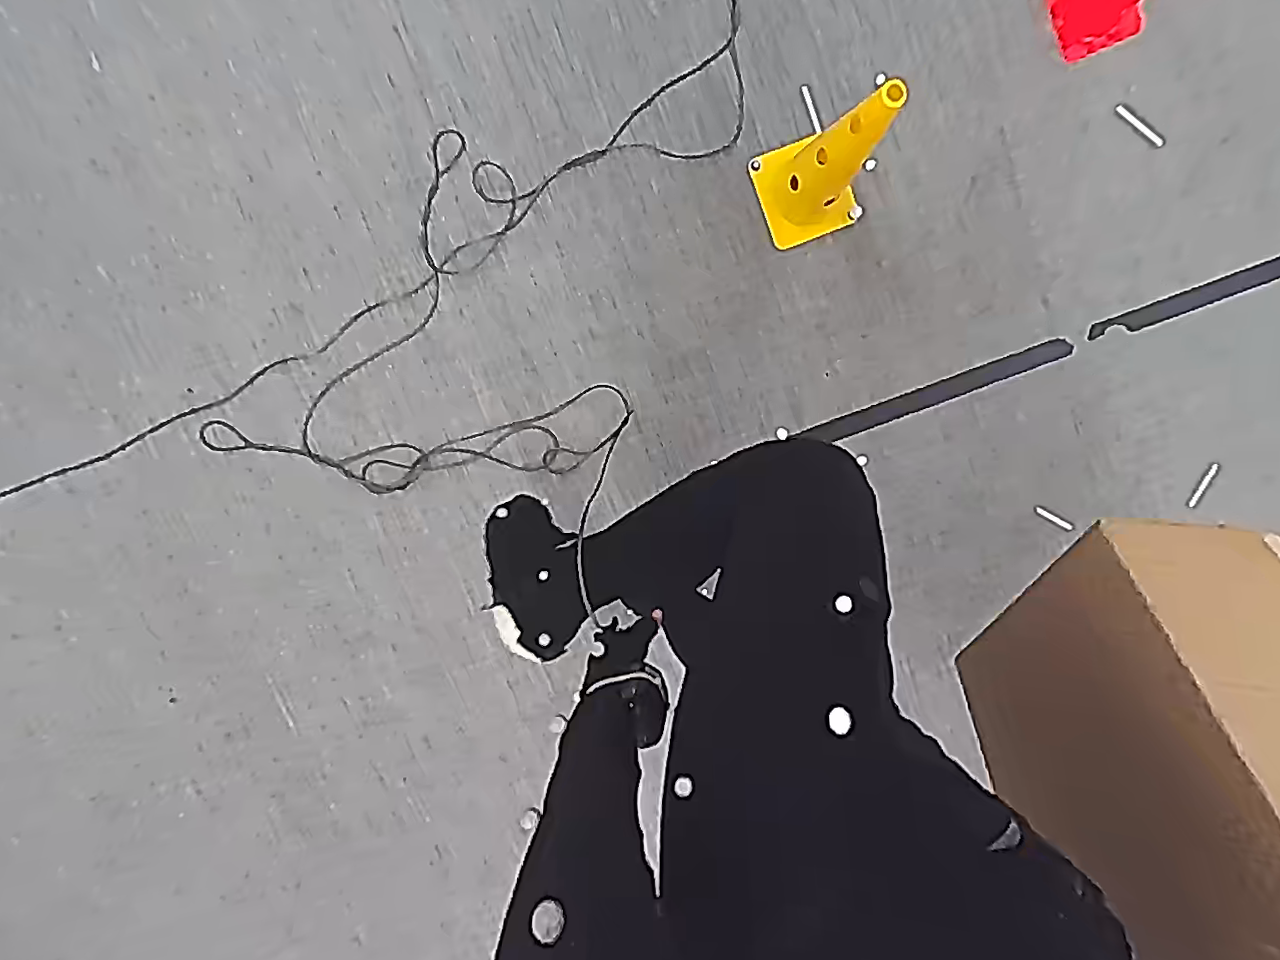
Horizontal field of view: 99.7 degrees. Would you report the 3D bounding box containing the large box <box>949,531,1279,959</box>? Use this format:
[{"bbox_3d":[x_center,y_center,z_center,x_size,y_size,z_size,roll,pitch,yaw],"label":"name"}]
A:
[{"bbox_3d":[0.567,0.307,0.507,0.320,0.408,0.320,5,137,2],"label":"large box"}]

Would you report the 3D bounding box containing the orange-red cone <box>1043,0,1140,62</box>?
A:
[{"bbox_3d":[0.985,-1.014,1.002,0.199,0.360,0.198,-23,97,-1],"label":"orange-red cone"}]
